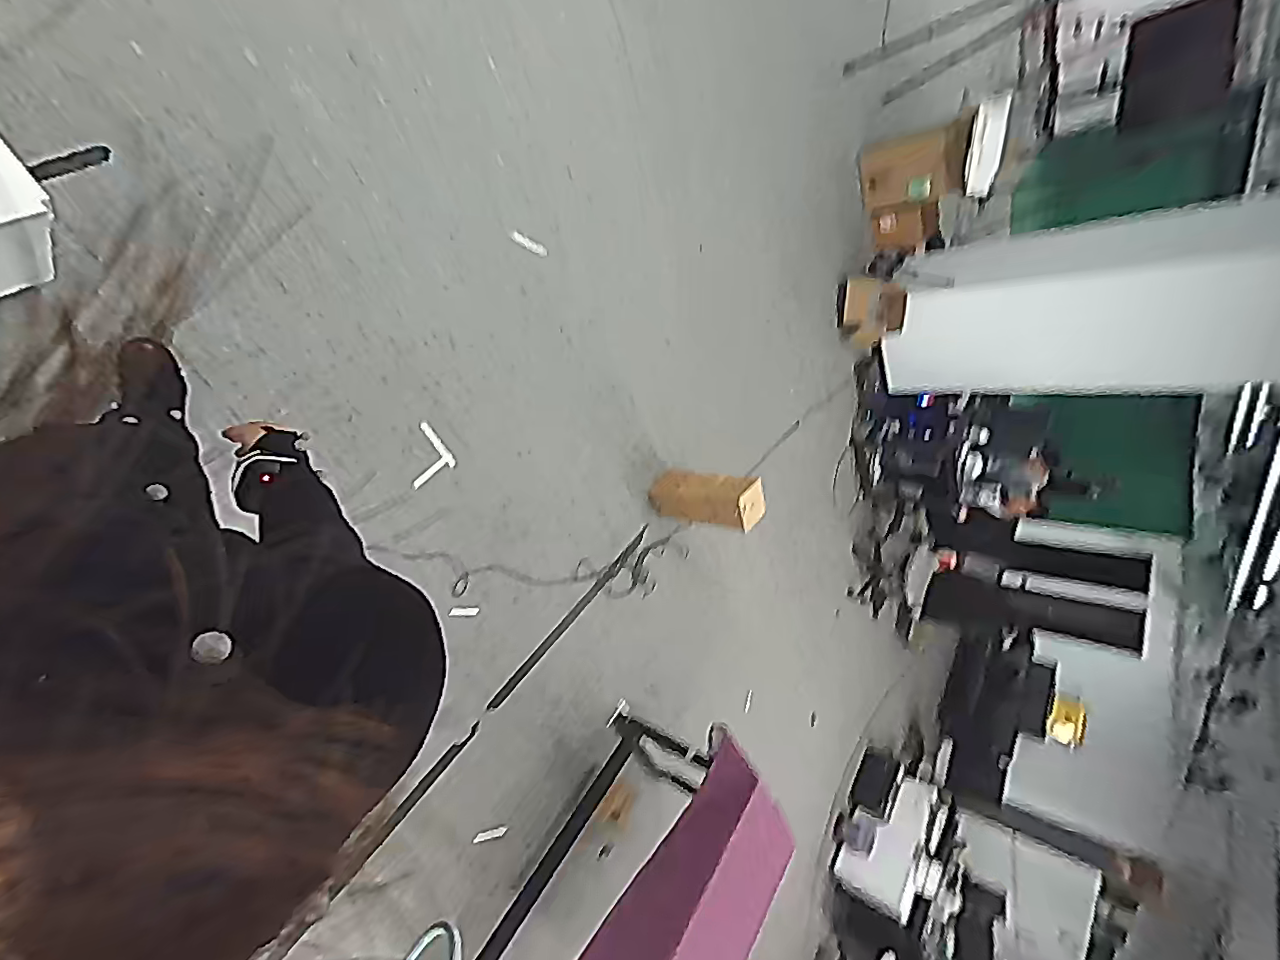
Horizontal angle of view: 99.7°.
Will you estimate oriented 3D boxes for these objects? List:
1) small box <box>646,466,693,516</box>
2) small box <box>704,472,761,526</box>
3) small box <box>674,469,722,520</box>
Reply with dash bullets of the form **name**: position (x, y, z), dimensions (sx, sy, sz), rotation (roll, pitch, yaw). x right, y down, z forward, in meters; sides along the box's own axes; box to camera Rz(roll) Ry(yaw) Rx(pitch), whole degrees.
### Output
- **small box**: position (0.159, 0.046, 2.545), dimensions (0.179, 0.176, 0.168), rotation (-47, 127, -33)
- **small box**: position (0.398, 0.077, 2.324), dimensions (0.179, 0.176, 0.168), rotation (-39, 122, -39)
- **small box**: position (0.278, 0.062, 2.437), dimensions (0.168, 0.176, 0.179), rotation (-46, 126, -34)
